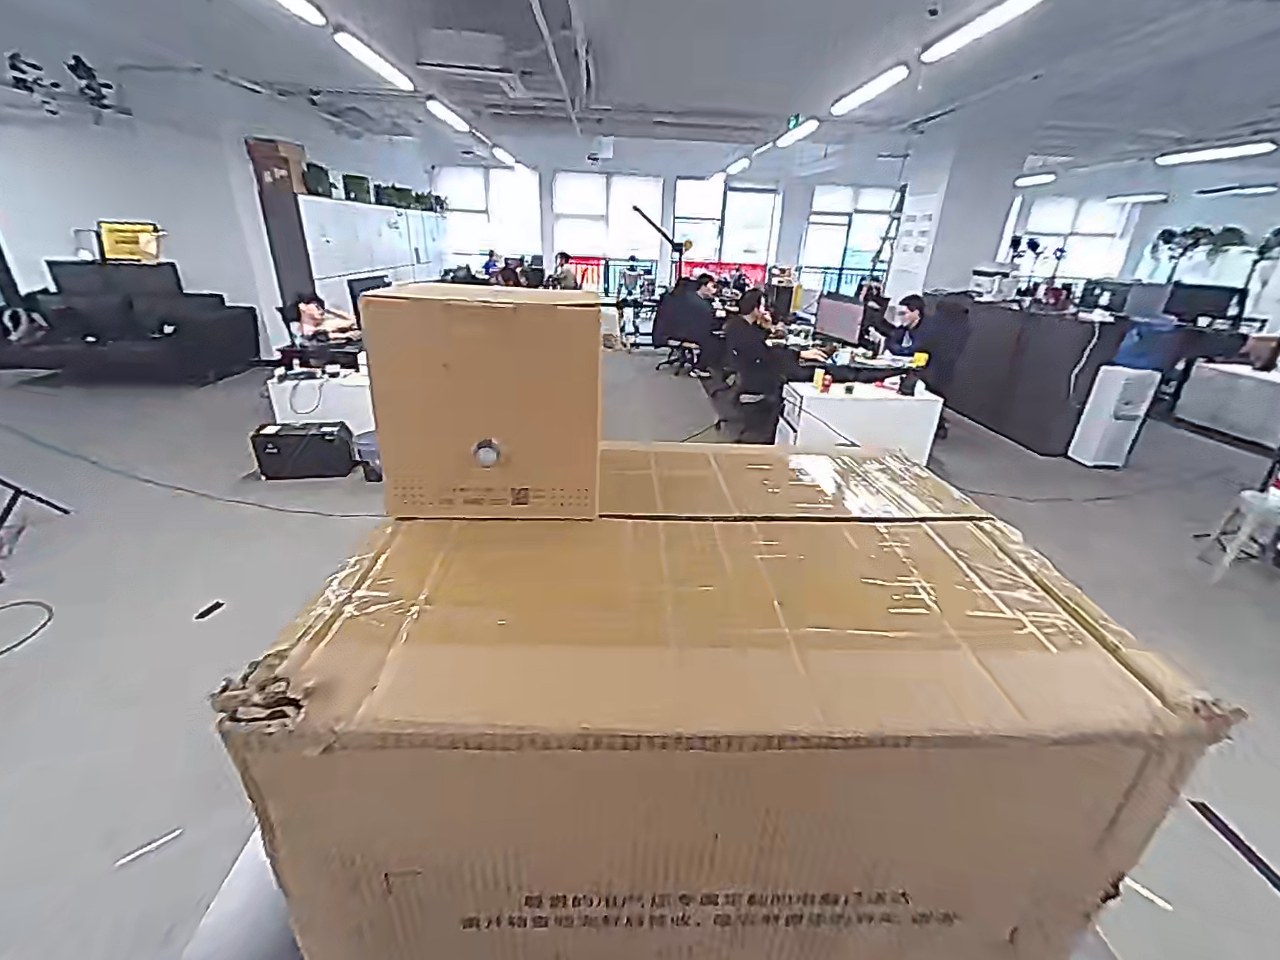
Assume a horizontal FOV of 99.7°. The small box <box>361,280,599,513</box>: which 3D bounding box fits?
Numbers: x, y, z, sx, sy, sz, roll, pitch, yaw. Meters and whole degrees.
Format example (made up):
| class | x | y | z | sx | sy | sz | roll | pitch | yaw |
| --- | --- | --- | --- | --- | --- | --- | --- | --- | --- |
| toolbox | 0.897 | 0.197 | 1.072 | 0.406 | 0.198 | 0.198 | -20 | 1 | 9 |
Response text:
| class | x | y | z | sx | sy | sz | roll | pitch | yaw |
| --- | --- | --- | --- | --- | --- | --- | --- | --- | --- |
| small box | -0.121 | -0.082 | 0.479 | 0.168 | 0.176 | 0.179 | 0 | 22 | -5 |
